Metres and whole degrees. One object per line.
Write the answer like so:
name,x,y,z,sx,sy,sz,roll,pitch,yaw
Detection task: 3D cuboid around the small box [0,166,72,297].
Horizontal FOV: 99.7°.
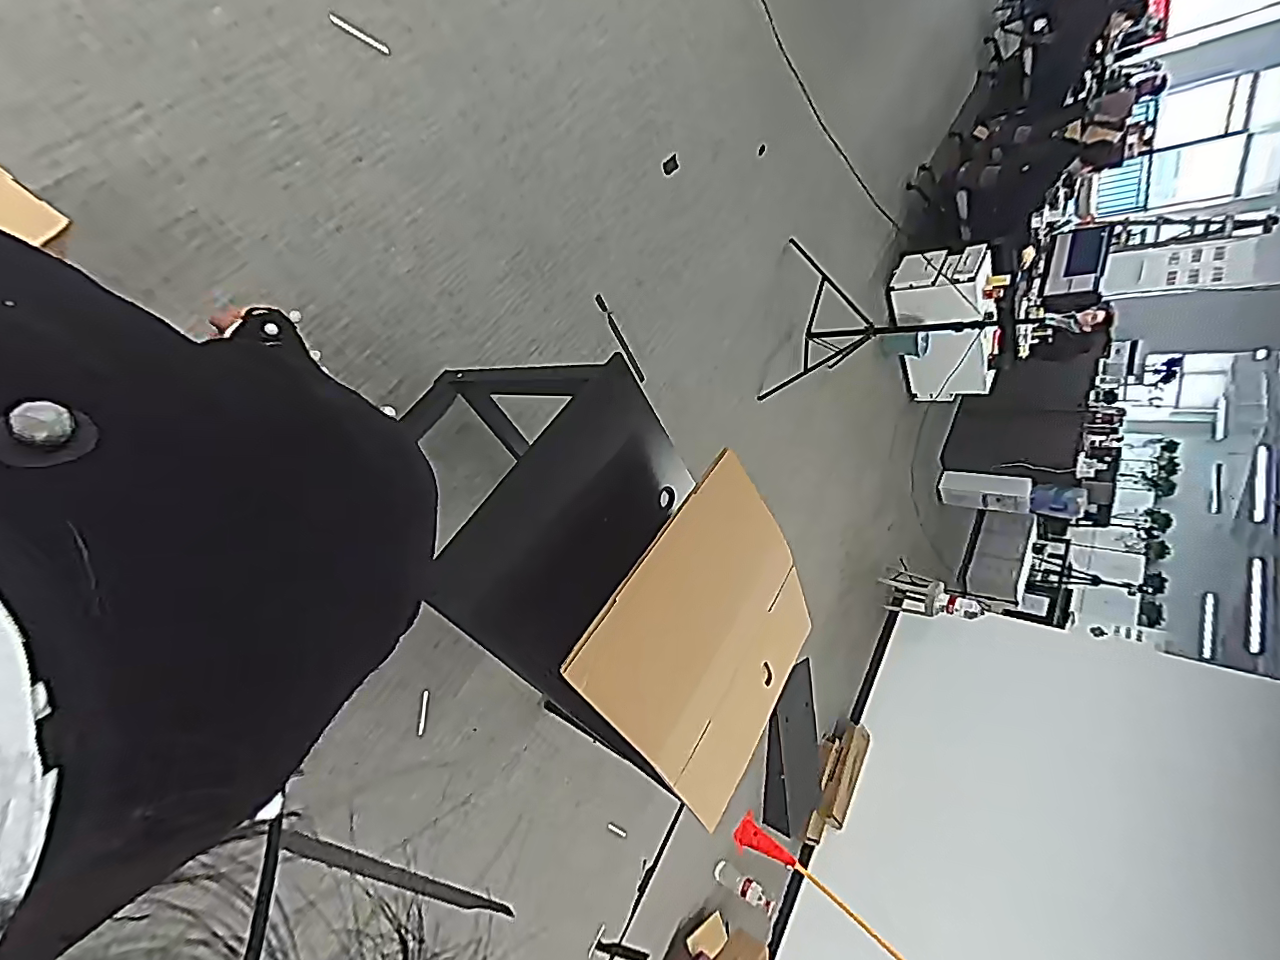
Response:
small box,-0.879,-0.323,0.673,0.168,0.176,0.179,48,61,-40

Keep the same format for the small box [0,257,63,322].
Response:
small box,-1.123,-0.356,0.890,0.179,0.176,0.168,-58,133,-23
